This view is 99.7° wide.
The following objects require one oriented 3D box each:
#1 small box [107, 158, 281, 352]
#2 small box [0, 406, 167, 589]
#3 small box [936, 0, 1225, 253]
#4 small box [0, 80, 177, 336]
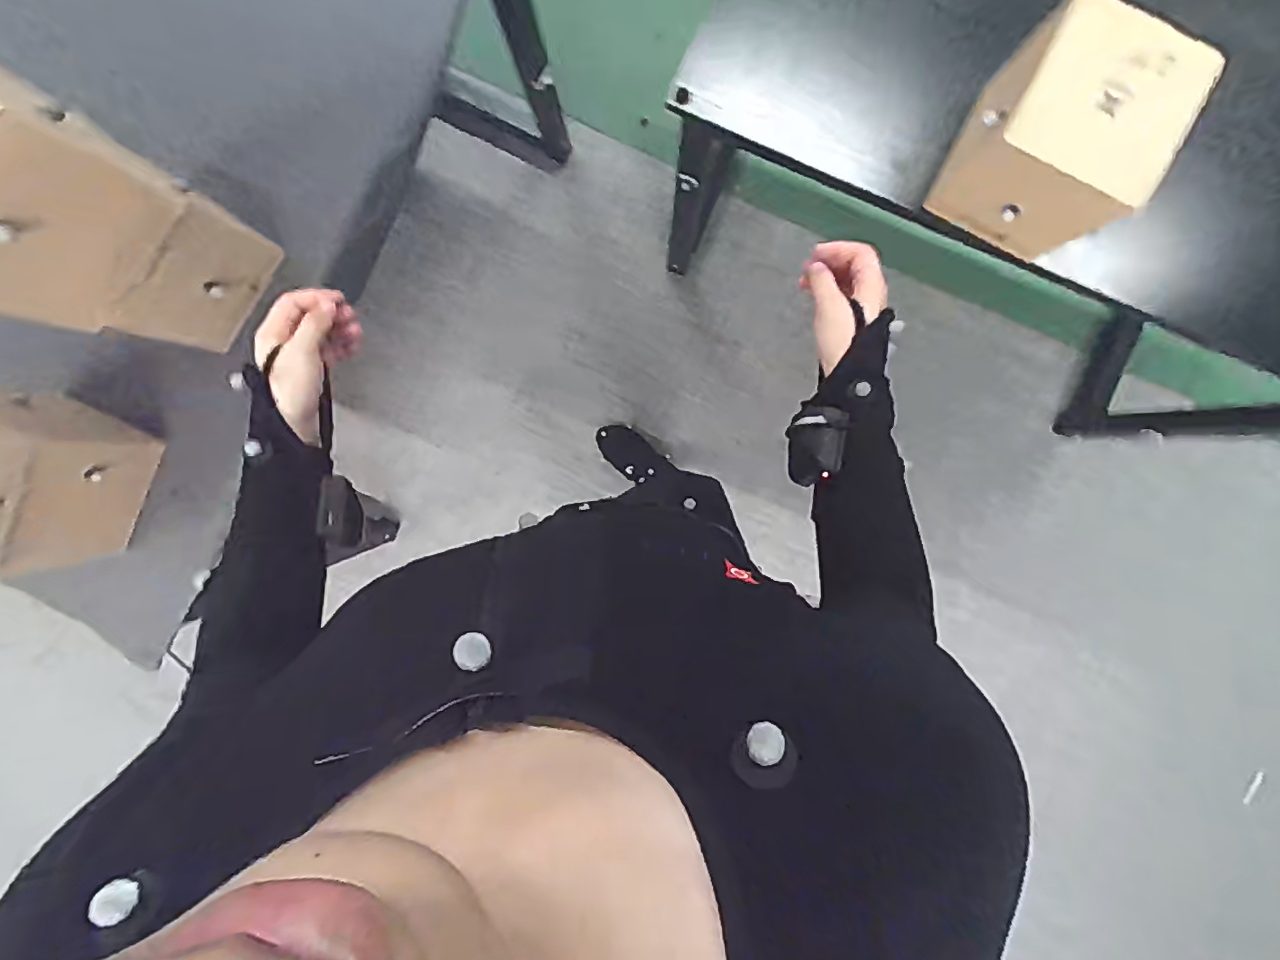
[{"bbox_3d":[-0.599,-0.274,0.666,0.179,0.176,0.168,33,95,-1],"label":"small box"},{"bbox_3d":[-0.769,0.011,0.692,0.168,0.176,0.179,23,95,2],"label":"small box"},{"bbox_3d":[0.487,-0.399,0.635,0.168,0.176,0.179,26,94,-1],"label":"small box"},{"bbox_3d":[-0.596,-0.263,0.503,0.168,0.176,0.179,39,95,0],"label":"small box"}]
